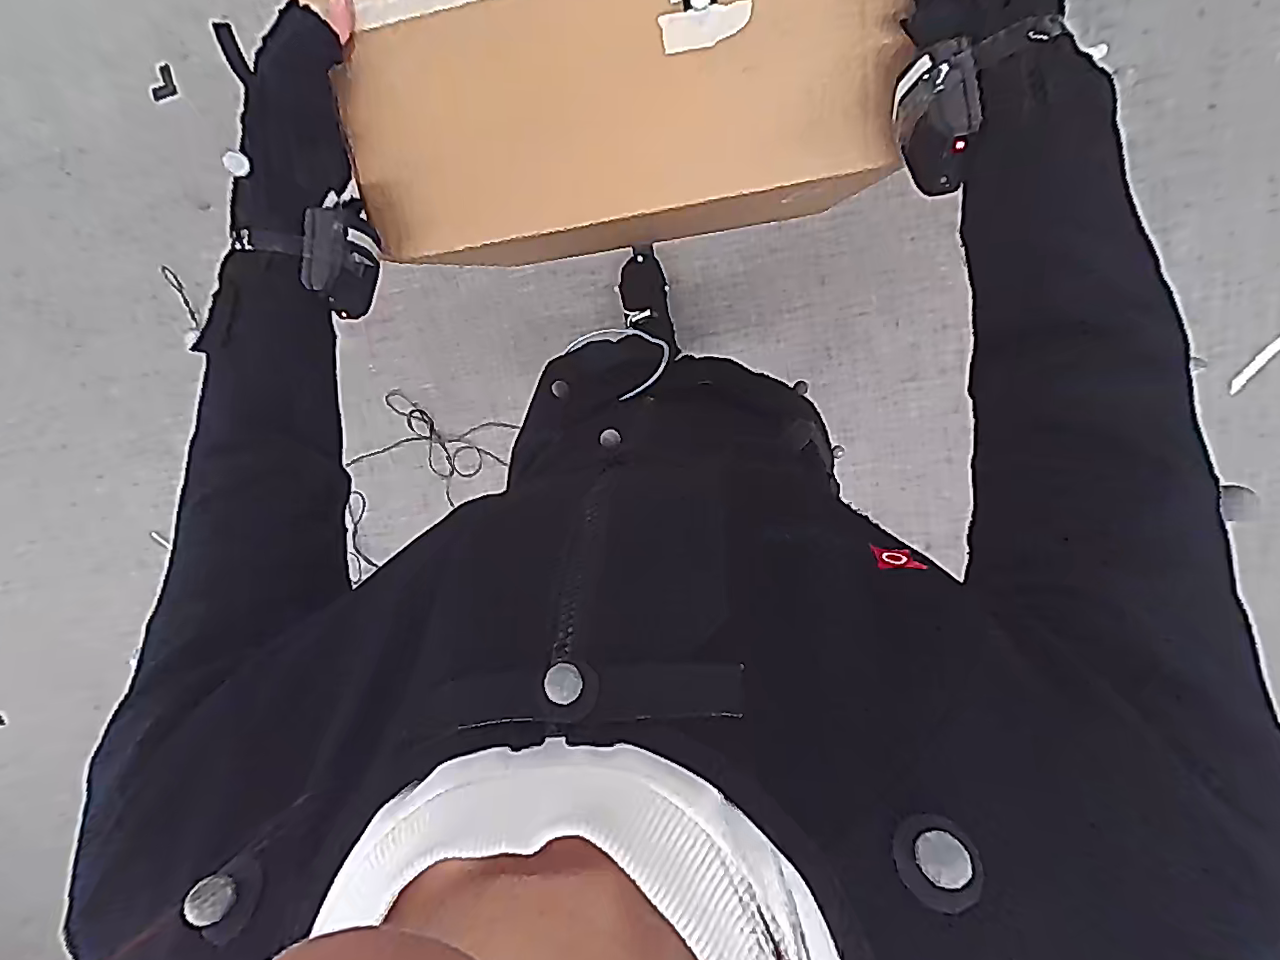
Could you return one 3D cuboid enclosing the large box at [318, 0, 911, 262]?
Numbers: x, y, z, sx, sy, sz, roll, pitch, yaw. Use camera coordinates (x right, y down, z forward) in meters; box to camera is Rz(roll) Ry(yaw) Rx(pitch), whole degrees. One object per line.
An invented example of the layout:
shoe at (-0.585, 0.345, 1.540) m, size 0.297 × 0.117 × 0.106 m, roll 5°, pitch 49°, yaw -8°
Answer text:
large box at (-0.020, -0.405, 0.496) m, size 0.408 × 0.320 × 0.320 m, roll -8°, pitch 110°, yaw 9°
